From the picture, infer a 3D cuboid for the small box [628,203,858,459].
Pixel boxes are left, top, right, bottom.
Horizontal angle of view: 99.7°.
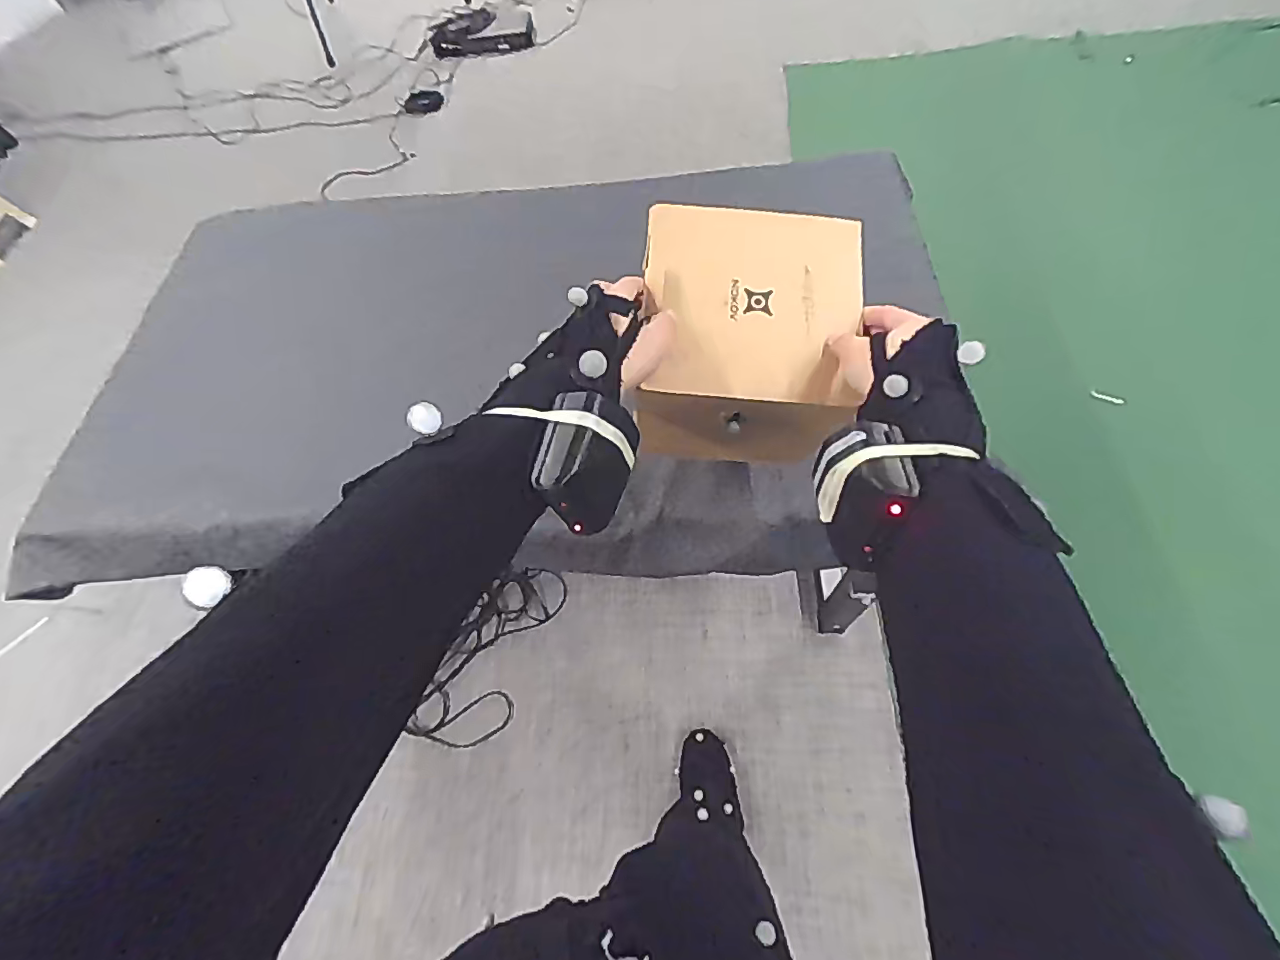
[{"bbox_3d":[0.081,-0.122,0.499,0.179,0.176,0.168,5,78,-1],"label":"small box"}]
